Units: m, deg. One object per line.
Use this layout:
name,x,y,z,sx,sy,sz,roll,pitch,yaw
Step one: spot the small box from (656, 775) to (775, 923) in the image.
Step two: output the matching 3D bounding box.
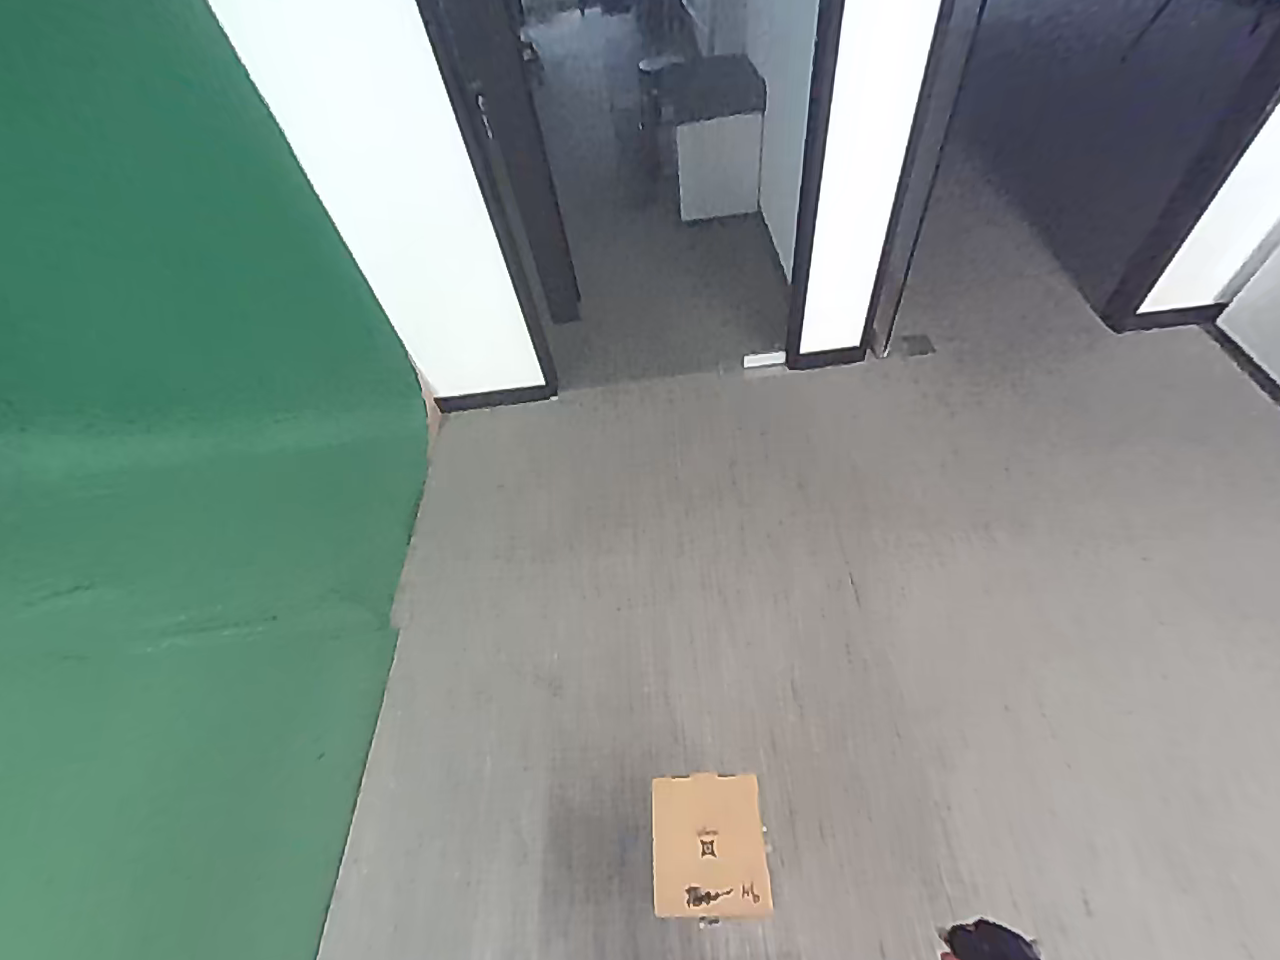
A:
small box,0.114,0.587,0.859,0.168,0.176,0.179,-5,49,6
